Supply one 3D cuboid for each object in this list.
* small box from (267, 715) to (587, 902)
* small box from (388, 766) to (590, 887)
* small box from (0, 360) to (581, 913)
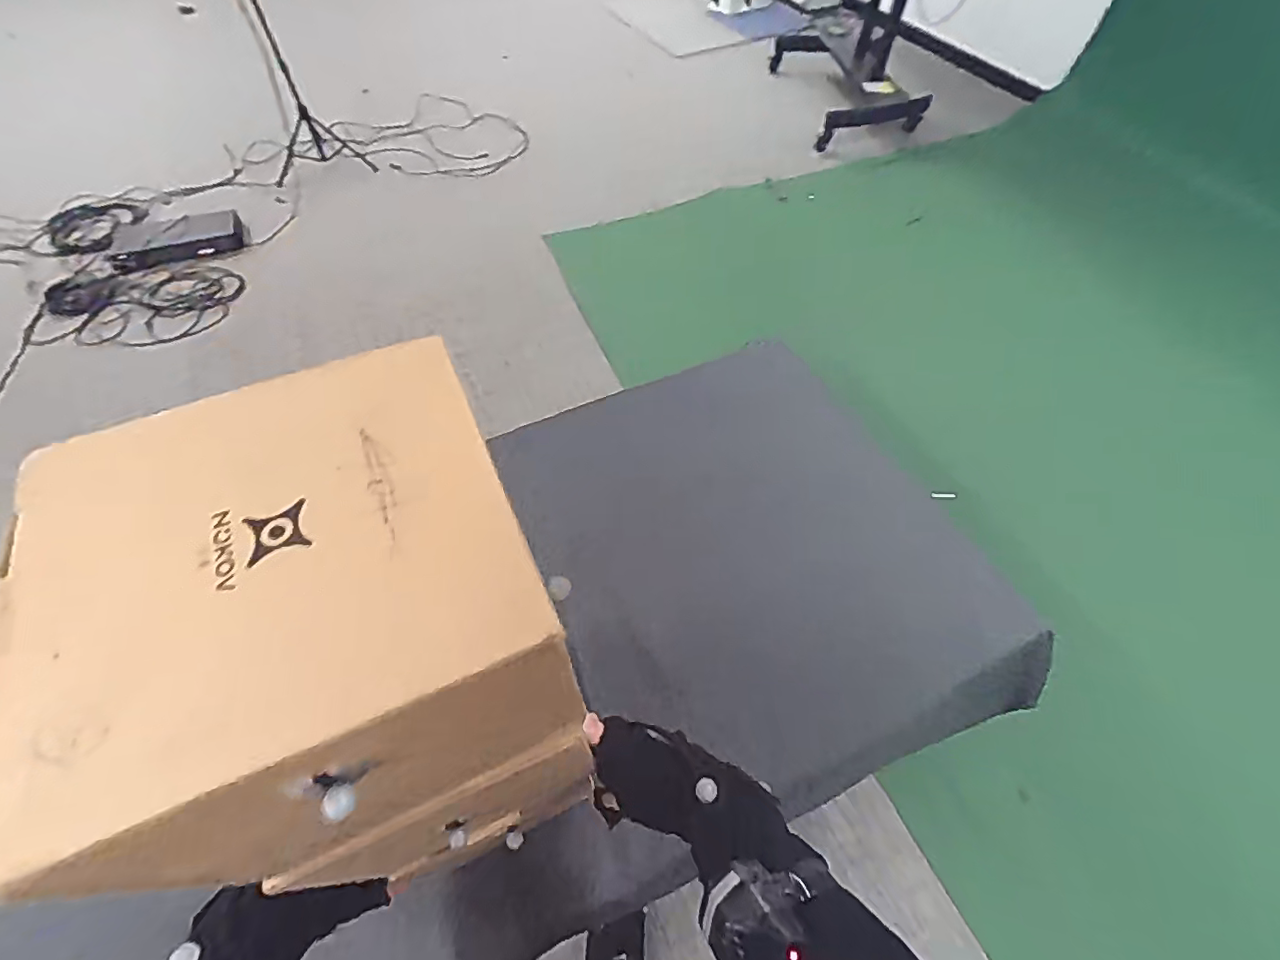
[{"bbox_3d":[-0.145,0.171,0.404,0.179,0.176,0.168,-21,59,-13],"label":"small box"},{"bbox_3d":[-0.156,0.261,0.541,0.168,0.176,0.179,-22,60,-15],"label":"small box"},{"bbox_3d":[-0.141,0.075,0.273,0.179,0.176,0.168,-21,60,-16],"label":"small box"}]
